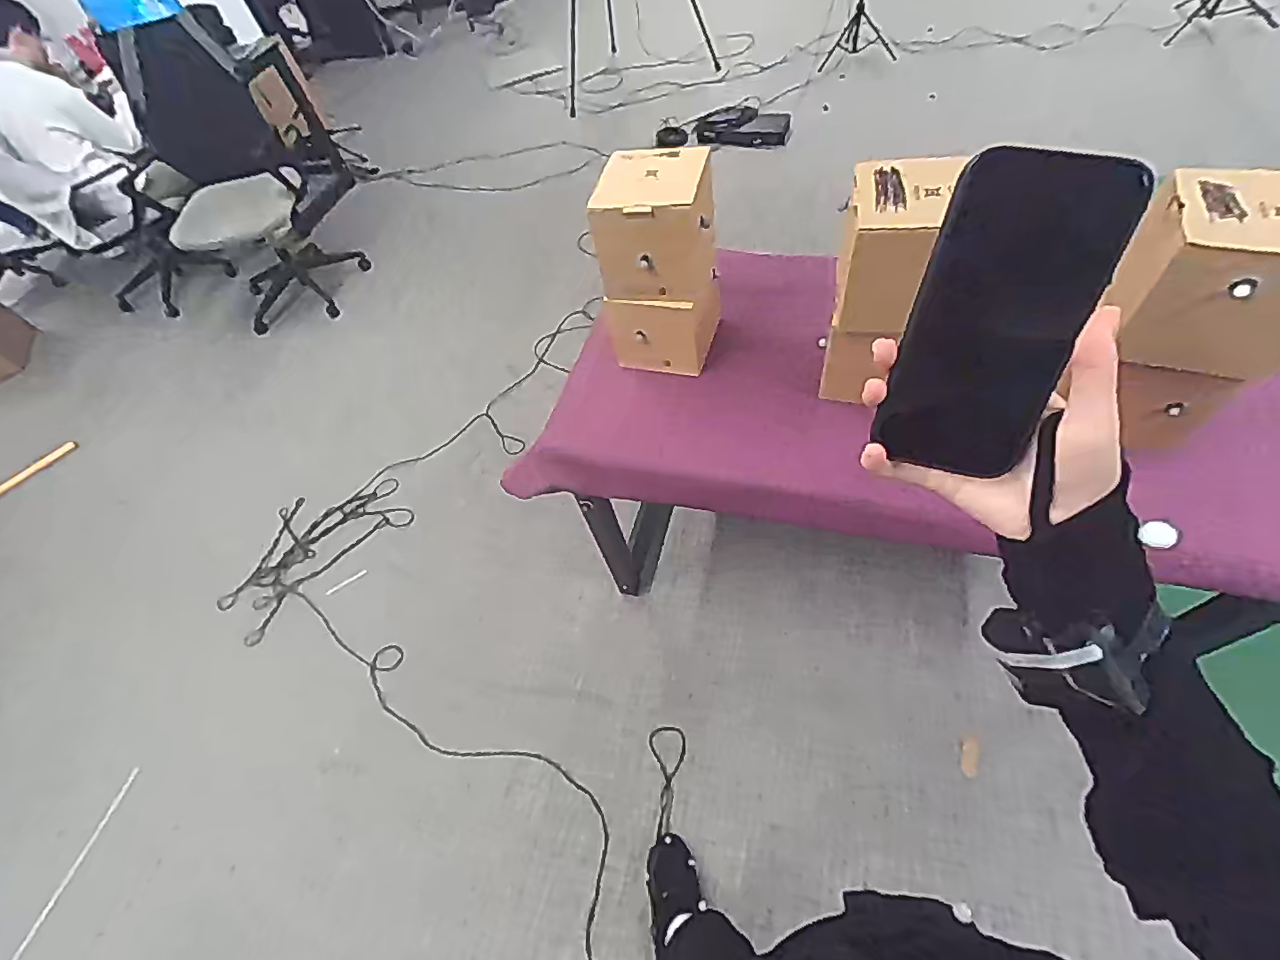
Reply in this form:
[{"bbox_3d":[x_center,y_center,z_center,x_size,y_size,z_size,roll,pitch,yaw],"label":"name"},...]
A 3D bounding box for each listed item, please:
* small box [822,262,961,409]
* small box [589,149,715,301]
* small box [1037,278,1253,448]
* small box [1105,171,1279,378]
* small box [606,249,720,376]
[{"bbox_3d":[0.415,-0.239,0.908,0.179,0.176,0.168,10,58,18],"label":"small box"},{"bbox_3d":[0.031,-0.420,0.907,0.168,0.176,0.179,7,58,14],"label":"small box"},{"bbox_3d":[0.730,-0.169,0.801,0.179,0.176,0.168,16,60,21],"label":"small box"},{"bbox_3d":[0.708,-0.247,0.658,0.179,0.176,0.168,16,60,20],"label":"small box"},{"bbox_3d":[0.055,-0.321,1.037,0.168,0.176,0.179,11,58,18],"label":"small box"}]
